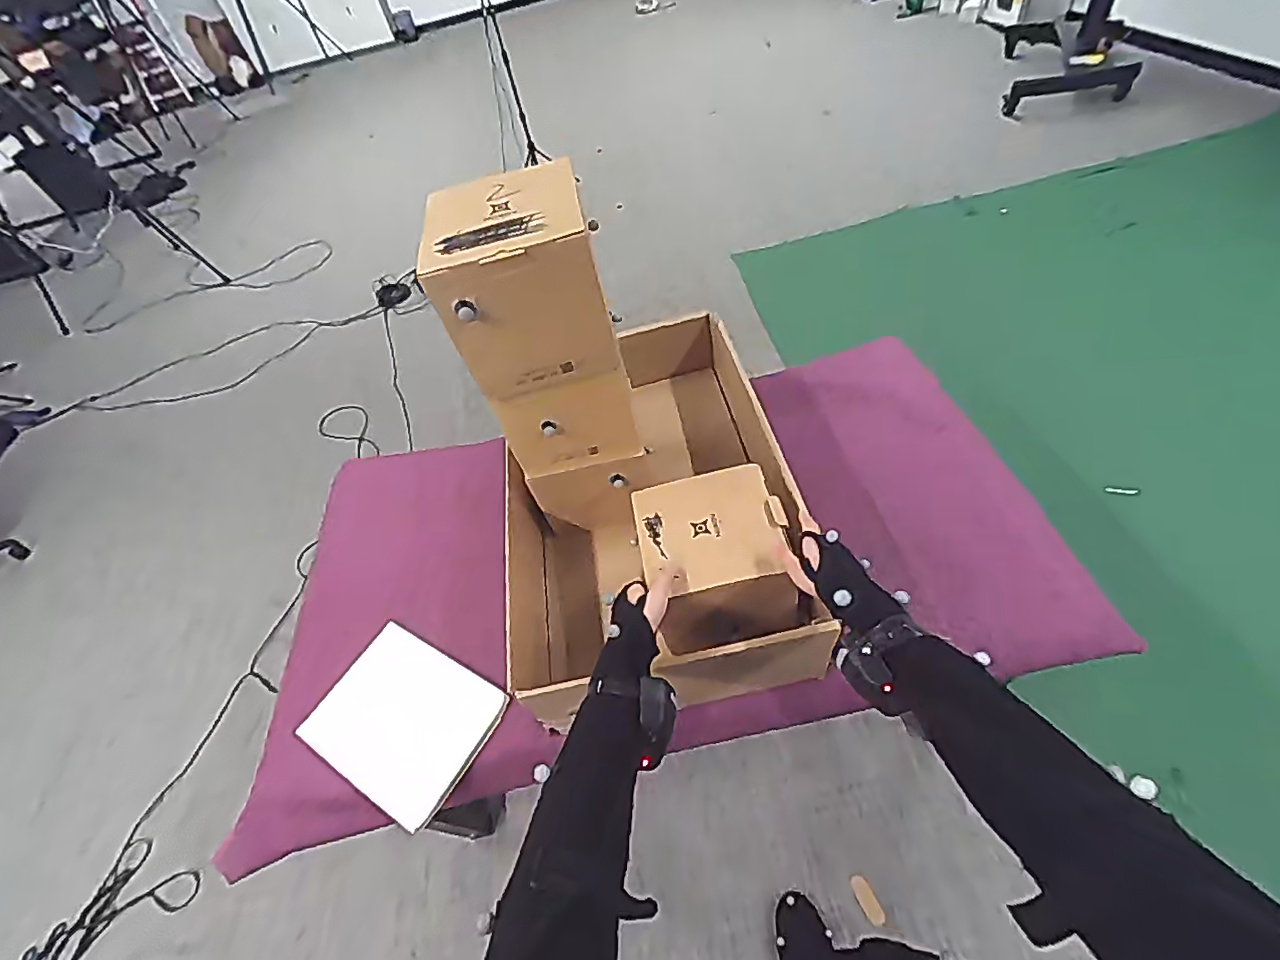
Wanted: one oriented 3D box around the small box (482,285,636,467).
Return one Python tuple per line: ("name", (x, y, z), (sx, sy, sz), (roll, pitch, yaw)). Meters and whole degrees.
("small box", (-0.106, -0.134, 0.752), (0.168, 0.176, 0.179), (-12, 52, 3))
